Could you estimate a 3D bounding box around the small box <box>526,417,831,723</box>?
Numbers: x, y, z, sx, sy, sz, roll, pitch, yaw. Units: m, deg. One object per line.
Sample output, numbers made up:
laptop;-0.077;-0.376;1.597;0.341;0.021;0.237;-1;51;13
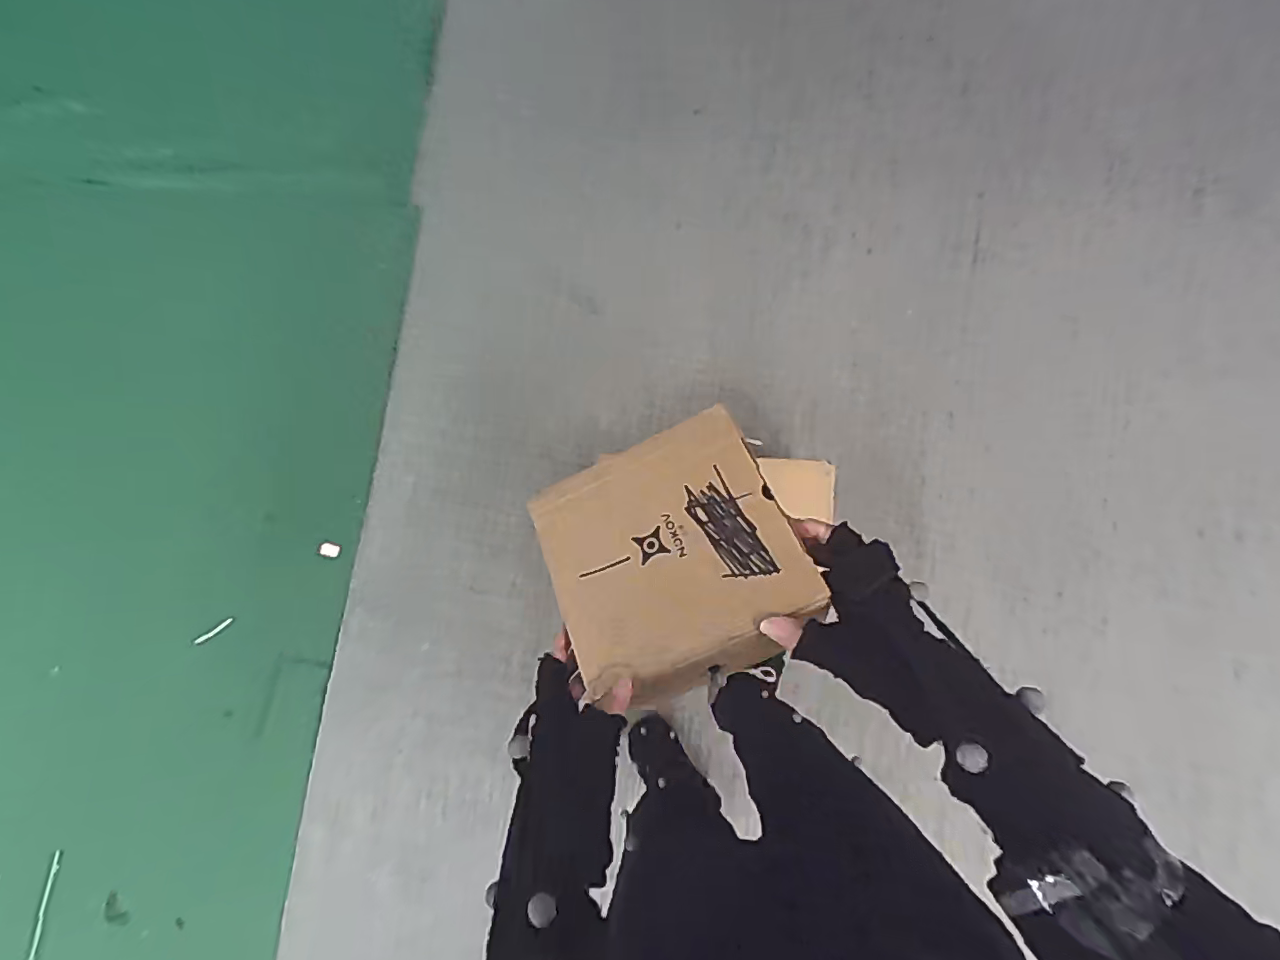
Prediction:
small box;0.037;0.083;0.451;0.179;0.176;0.168;-27;63;6
